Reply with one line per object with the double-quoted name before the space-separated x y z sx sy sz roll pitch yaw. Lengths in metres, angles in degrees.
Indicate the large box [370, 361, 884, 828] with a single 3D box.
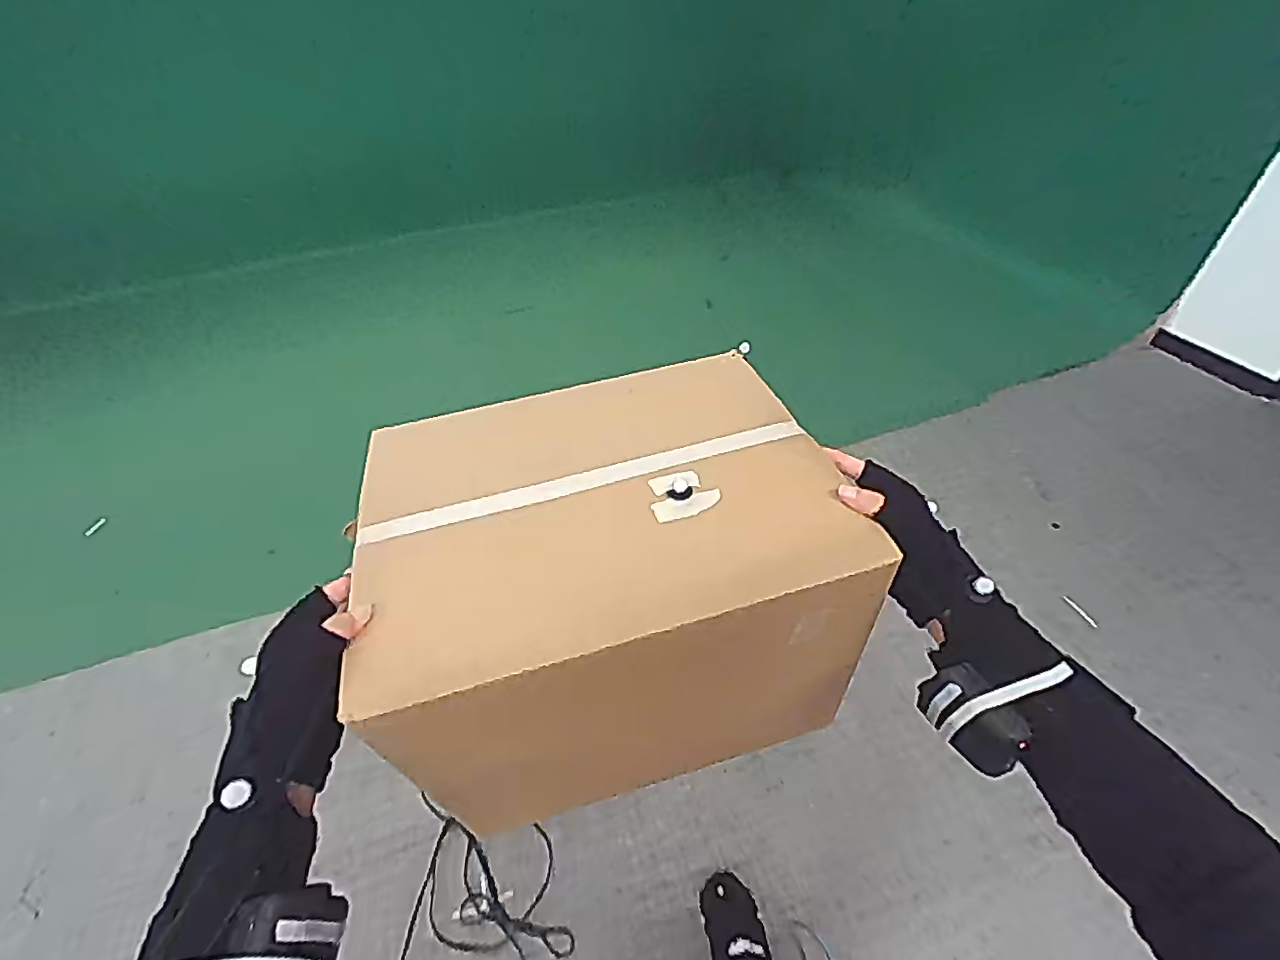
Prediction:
"large box" -0.027 0.114 0.598 0.408 0.320 0.320 -14 45 -9
